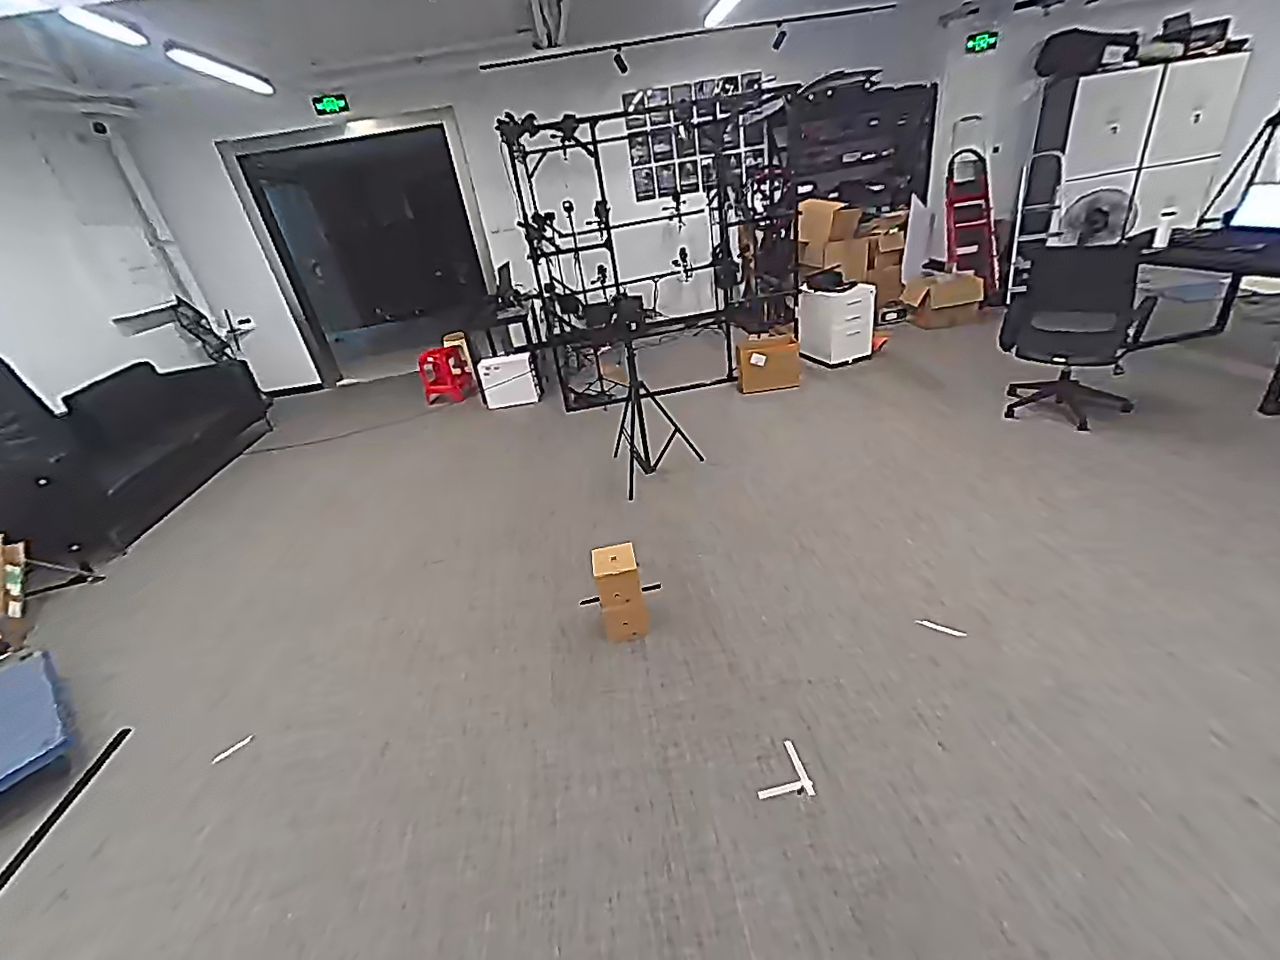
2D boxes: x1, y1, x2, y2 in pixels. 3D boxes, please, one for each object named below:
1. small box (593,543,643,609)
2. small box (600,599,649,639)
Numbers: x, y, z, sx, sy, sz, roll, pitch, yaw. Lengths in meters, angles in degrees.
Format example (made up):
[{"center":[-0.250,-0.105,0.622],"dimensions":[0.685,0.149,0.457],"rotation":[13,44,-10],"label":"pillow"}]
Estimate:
[{"center":[-0.088,0.373,2.113],"dimensions":[0.168,0.176,0.179],"rotation":[-12,29,-3],"label":"small box"},{"center":[-0.066,0.520,2.181],"dimensions":[0.168,0.176,0.179],"rotation":[-12,28,-5],"label":"small box"}]
